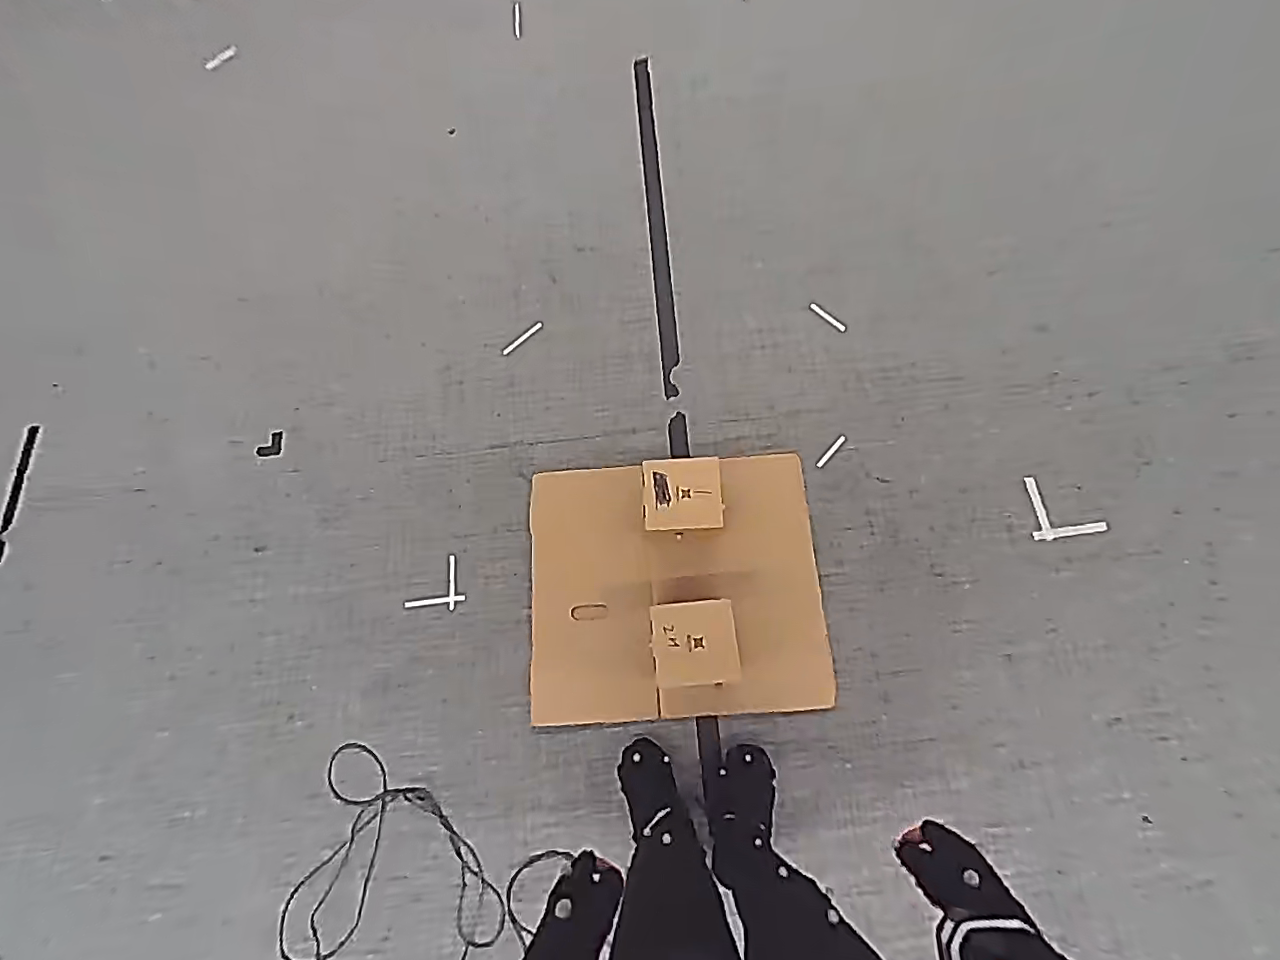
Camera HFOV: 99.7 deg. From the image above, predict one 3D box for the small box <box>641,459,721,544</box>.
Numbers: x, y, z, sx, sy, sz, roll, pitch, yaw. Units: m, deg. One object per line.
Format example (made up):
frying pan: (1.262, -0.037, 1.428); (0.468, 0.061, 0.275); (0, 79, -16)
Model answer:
small box: (0.099, 0.058, 1.292); (0.179, 0.176, 0.168); (-3, 73, 3)

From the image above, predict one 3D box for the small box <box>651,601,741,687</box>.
small box: (0.119, 0.361, 1.199); (0.179, 0.176, 0.168); (-6, 73, 4)
